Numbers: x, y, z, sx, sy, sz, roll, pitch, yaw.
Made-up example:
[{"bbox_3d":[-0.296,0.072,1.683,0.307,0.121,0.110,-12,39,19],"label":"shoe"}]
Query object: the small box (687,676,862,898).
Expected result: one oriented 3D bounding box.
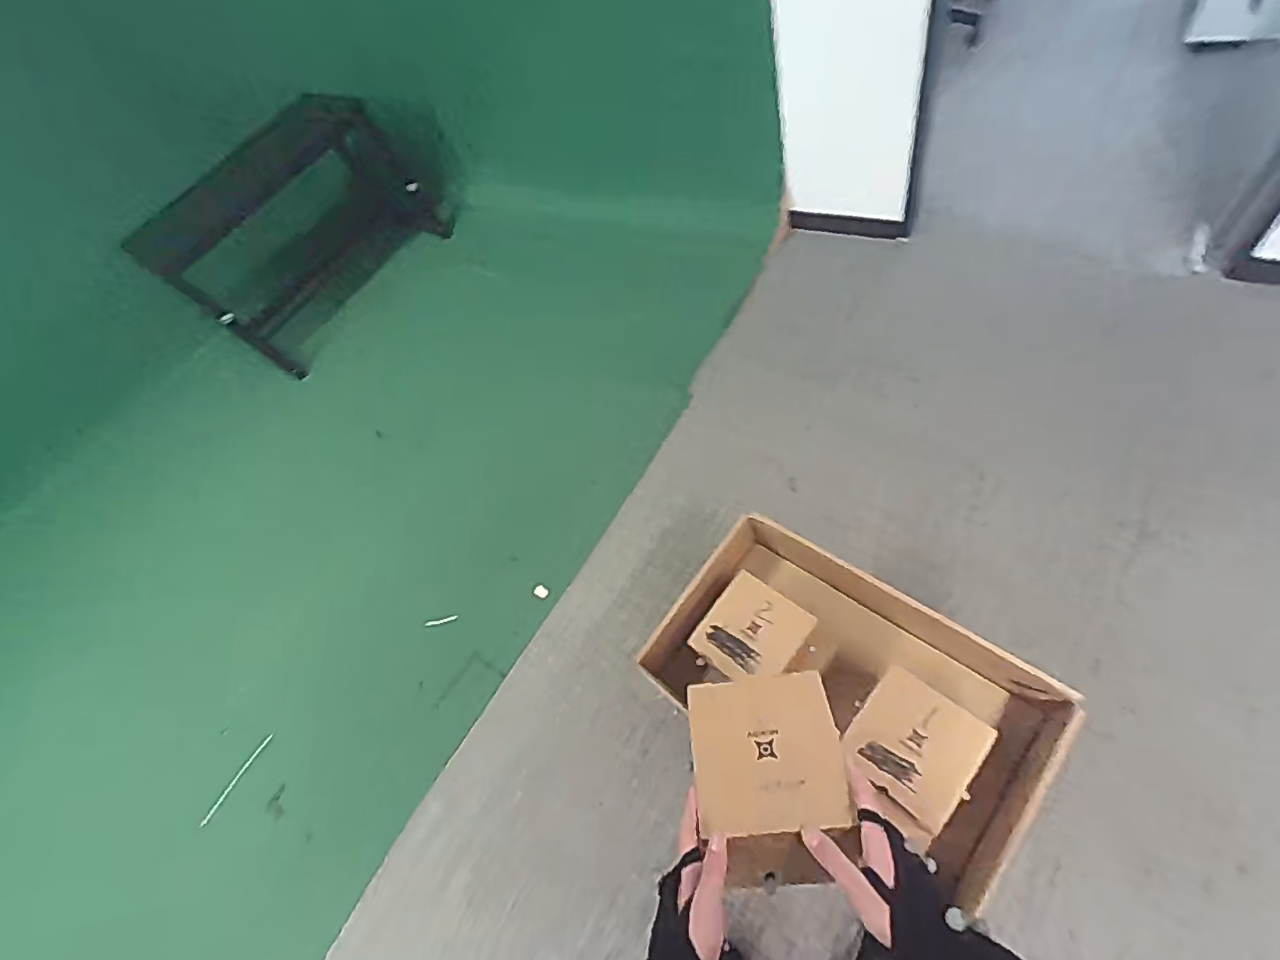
[{"bbox_3d":[0.152,0.366,0.650,0.168,0.176,0.179,-9,37,6],"label":"small box"}]
